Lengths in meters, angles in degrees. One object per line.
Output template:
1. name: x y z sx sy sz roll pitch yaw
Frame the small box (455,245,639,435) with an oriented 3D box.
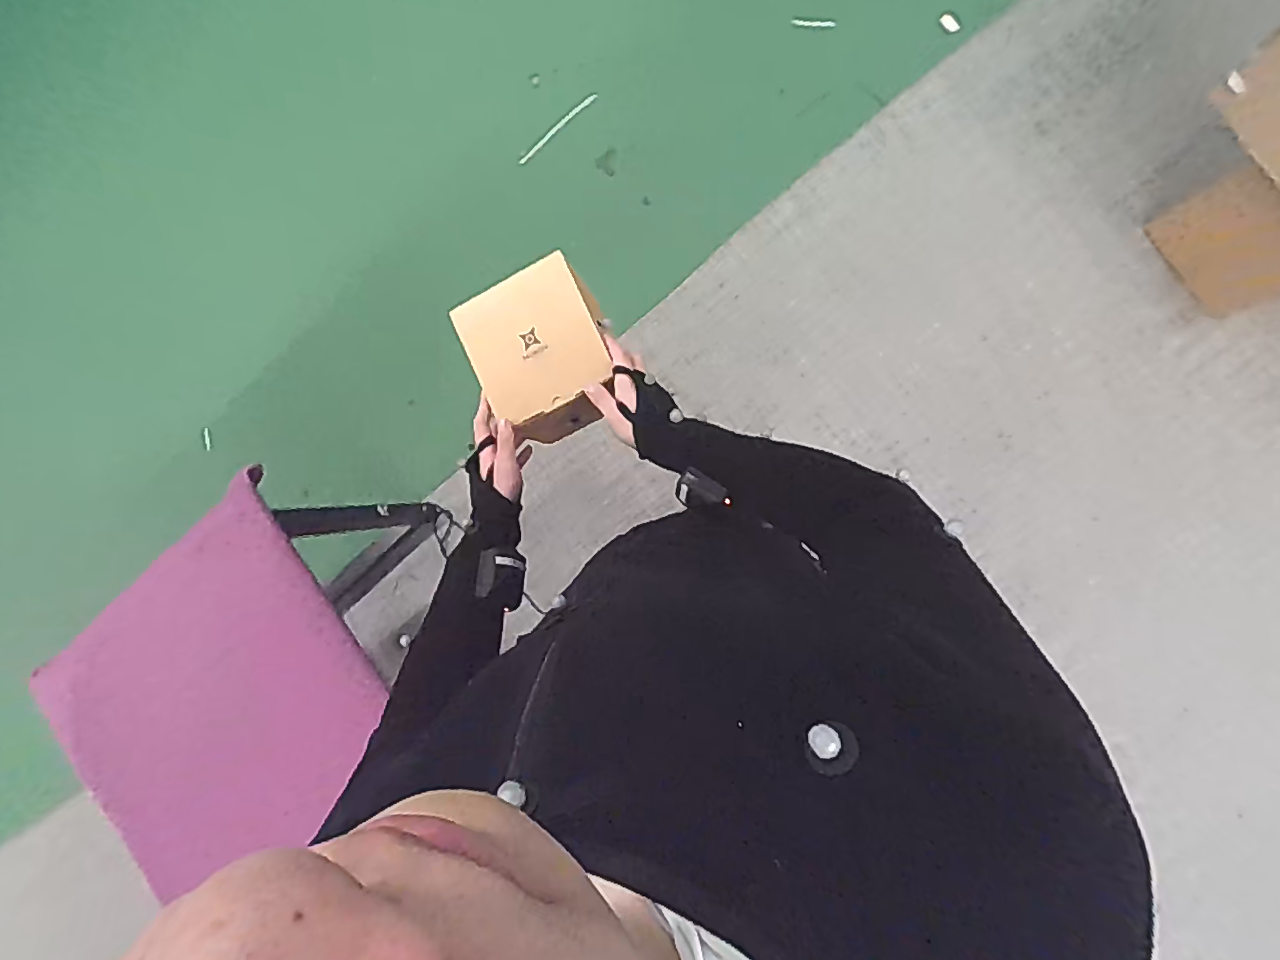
1. small box: -0.115 -0.174 0.736 0.168 0.176 0.179 -25 87 7
